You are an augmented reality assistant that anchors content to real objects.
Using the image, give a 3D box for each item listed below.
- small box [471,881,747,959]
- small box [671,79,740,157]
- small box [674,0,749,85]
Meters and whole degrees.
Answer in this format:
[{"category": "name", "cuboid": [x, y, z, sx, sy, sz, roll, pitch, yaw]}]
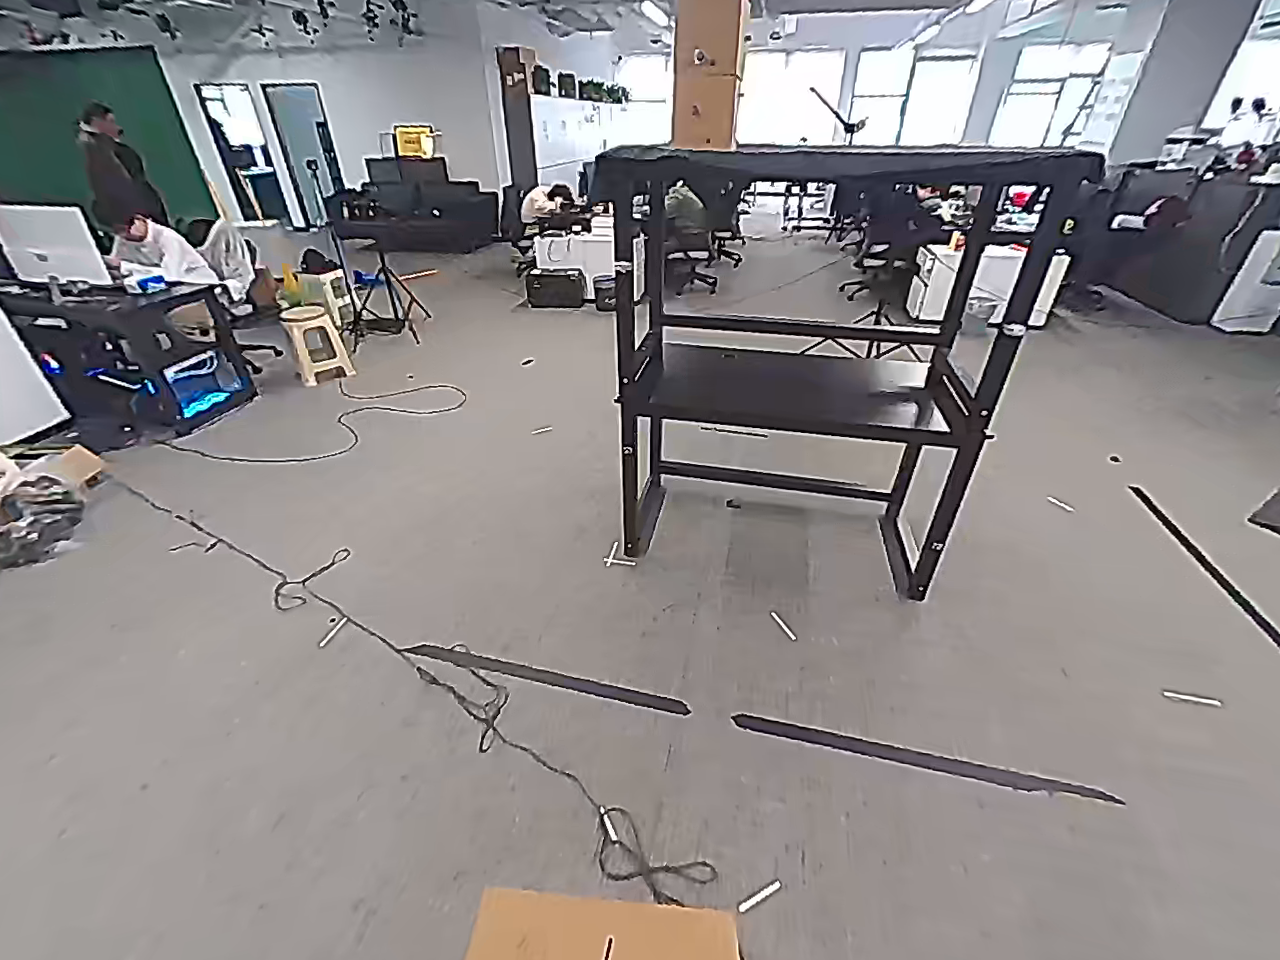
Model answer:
[{"category": "small box", "cuboid": [-0.027, 0.379, 0.311, 0.168, 0.176, 0.179, 7, 28, 0]}, {"category": "small box", "cuboid": [0.178, -0.987, 1.481, 0.168, 0.176, 0.179, 7, 32, 10]}, {"category": "small box", "cuboid": [0.184, -1.125, 1.396, 0.168, 0.176, 0.179, 7, 32, 13]}]
